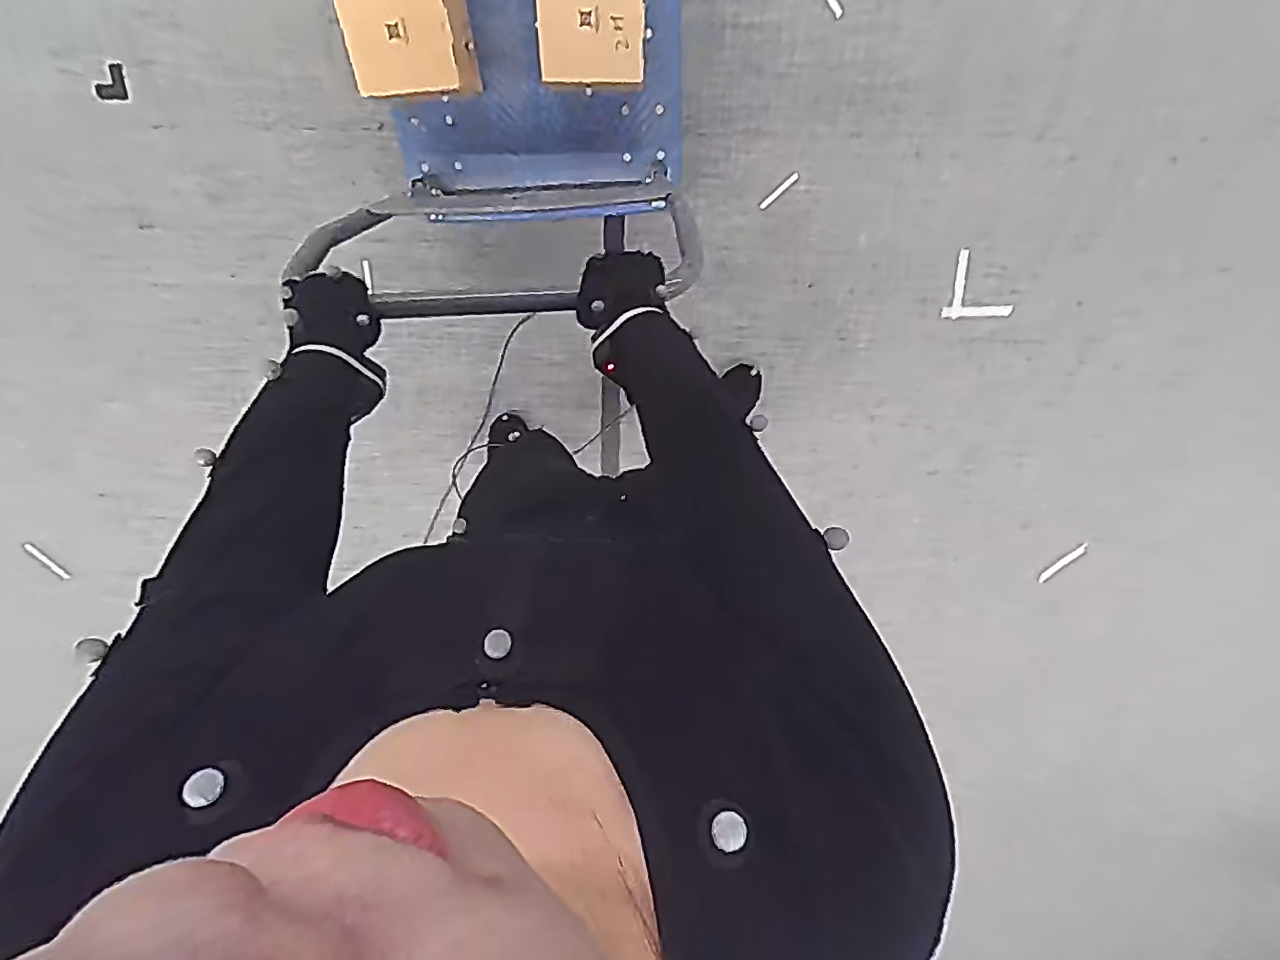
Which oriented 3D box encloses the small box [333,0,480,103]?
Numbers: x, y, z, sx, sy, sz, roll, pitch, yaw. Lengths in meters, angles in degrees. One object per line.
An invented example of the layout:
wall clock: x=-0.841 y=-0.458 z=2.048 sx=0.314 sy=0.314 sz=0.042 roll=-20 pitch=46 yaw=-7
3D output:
small box: x=-0.398 y=-0.770 z=0.941 sx=0.179 sy=0.176 sz=0.168 roll=-6 pitch=121 yaw=0

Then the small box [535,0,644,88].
small box: x=-0.082 y=-0.790 z=0.938 sx=0.179 sy=0.176 sz=0.168 roll=-1 pitch=122 yaw=-1
